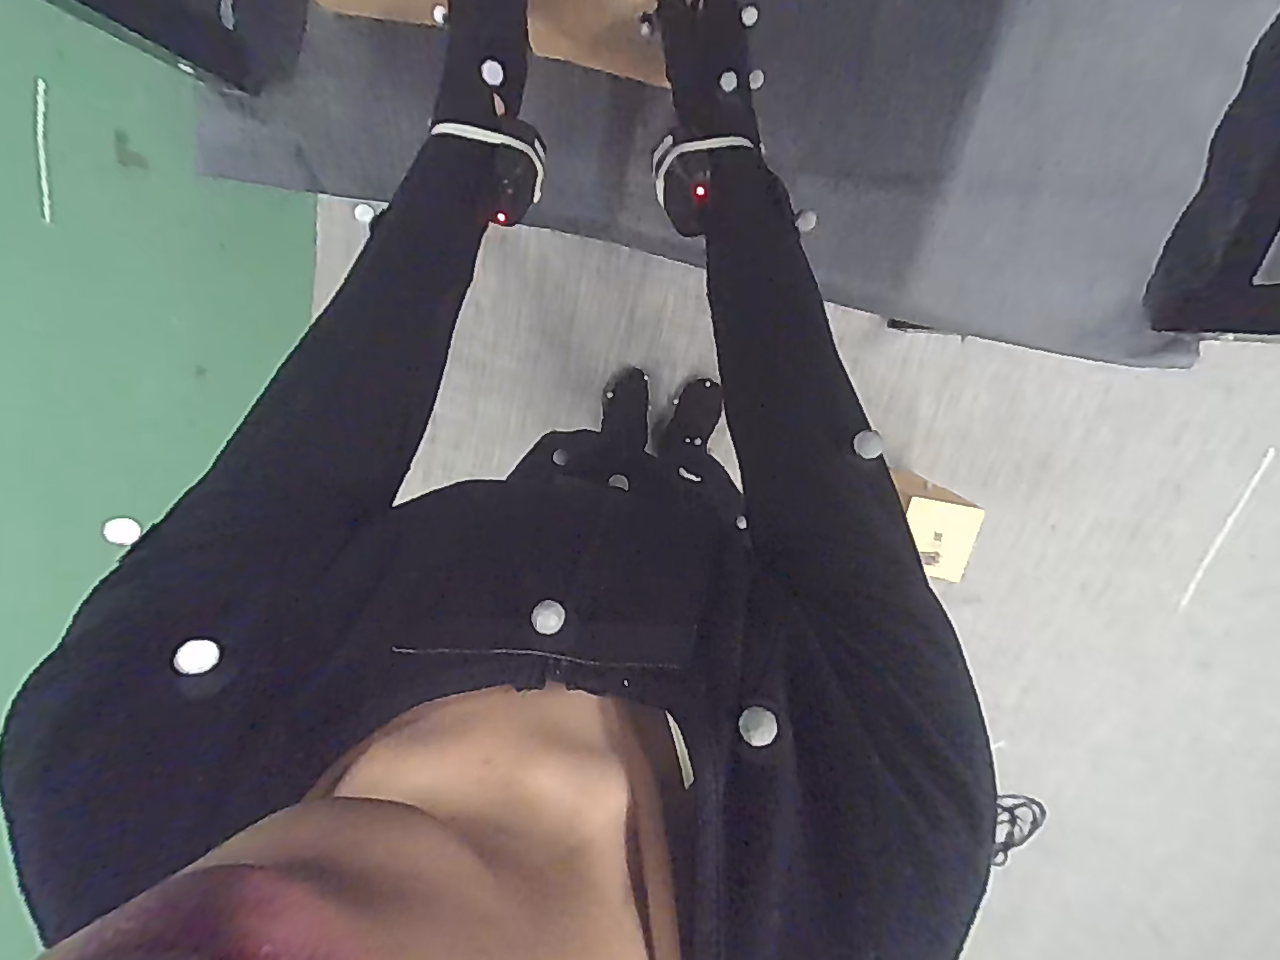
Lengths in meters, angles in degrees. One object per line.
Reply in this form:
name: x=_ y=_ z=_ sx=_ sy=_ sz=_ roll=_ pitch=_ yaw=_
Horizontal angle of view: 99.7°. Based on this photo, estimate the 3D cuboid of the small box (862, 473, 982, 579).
small box: x=0.636 y=0.100 z=1.246 sx=0.168 sy=0.176 sz=0.179 roll=11 pitch=106 yaw=-2
